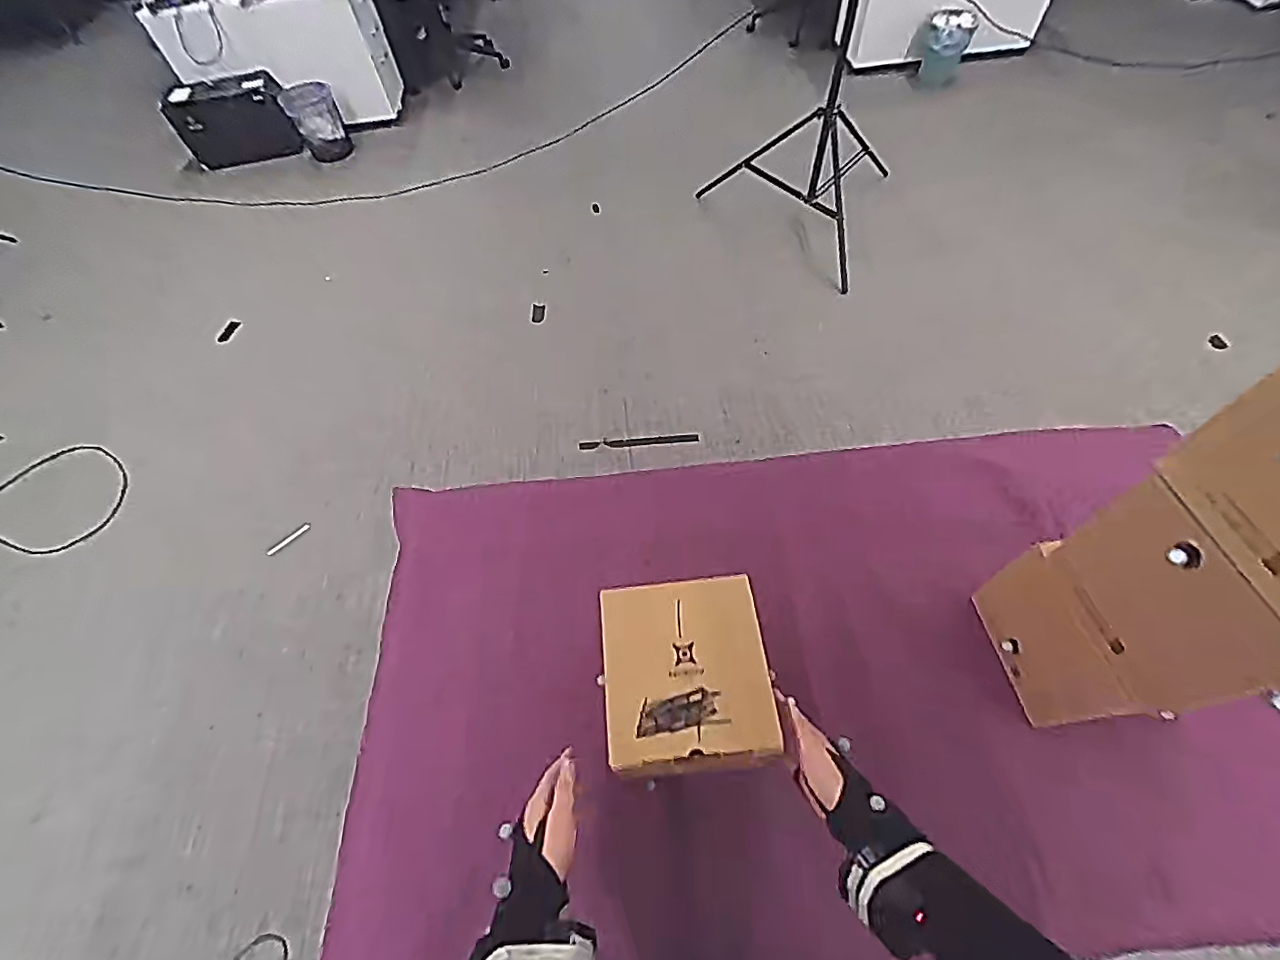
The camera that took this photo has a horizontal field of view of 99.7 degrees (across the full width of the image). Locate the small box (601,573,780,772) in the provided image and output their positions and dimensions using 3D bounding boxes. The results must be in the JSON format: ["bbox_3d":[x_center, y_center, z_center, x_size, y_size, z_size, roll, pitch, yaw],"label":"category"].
[{"bbox_3d":[0.050,0.226,0.614,0.168,0.176,0.179,-6,56,0],"label":"small box"}]

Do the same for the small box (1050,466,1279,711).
[{"bbox_3d":[0.524,0.089,0.472,0.179,0.176,0.168,-10,57,-2],"label":"small box"}]
